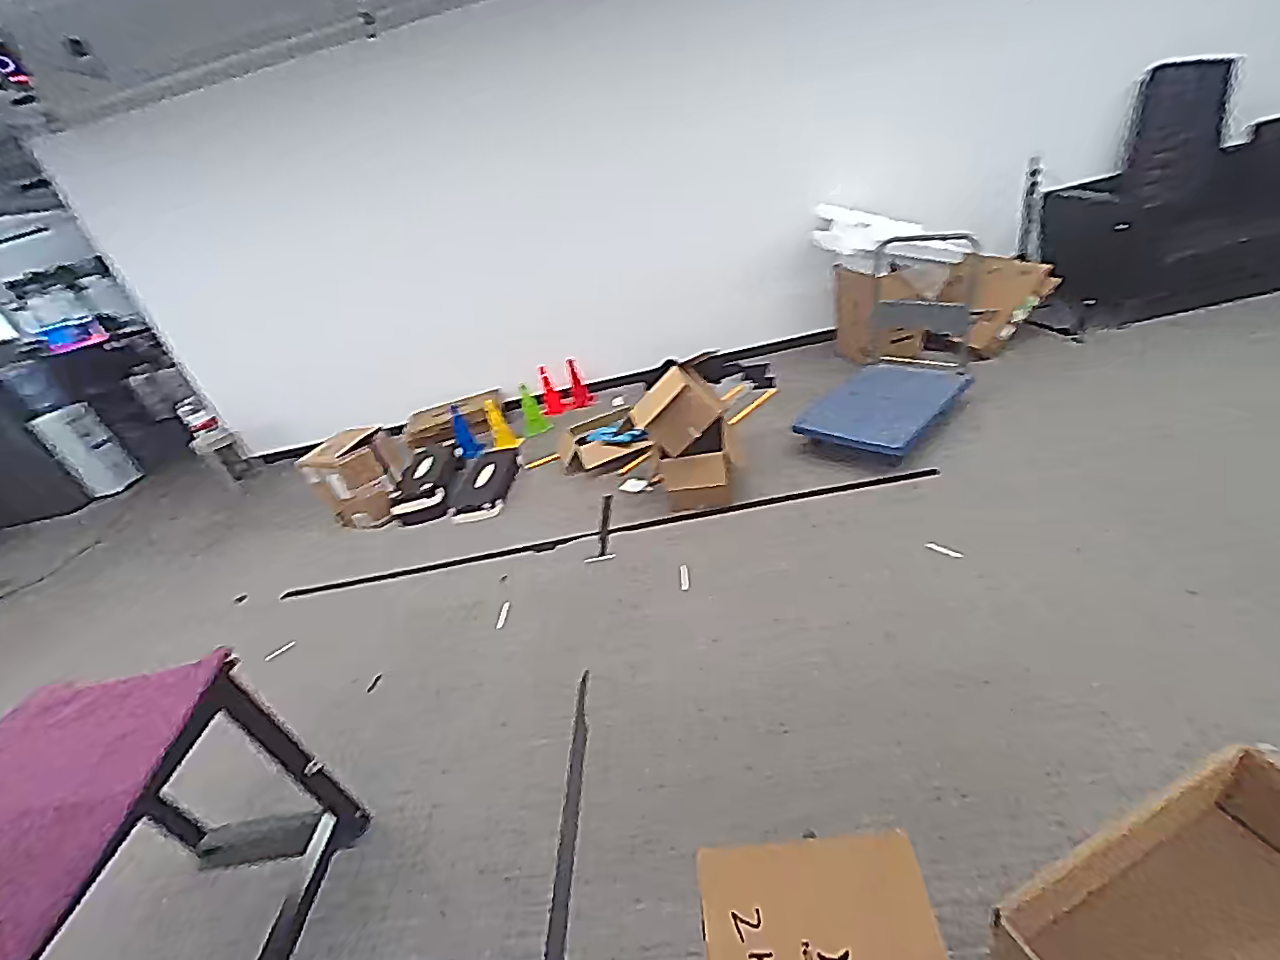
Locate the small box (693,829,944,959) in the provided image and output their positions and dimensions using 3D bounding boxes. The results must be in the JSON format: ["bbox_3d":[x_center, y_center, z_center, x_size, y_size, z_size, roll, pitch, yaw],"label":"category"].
[{"bbox_3d":[0.149,0.411,0.446,0.179,0.176,0.168,-12,42,8],"label":"small box"}]
